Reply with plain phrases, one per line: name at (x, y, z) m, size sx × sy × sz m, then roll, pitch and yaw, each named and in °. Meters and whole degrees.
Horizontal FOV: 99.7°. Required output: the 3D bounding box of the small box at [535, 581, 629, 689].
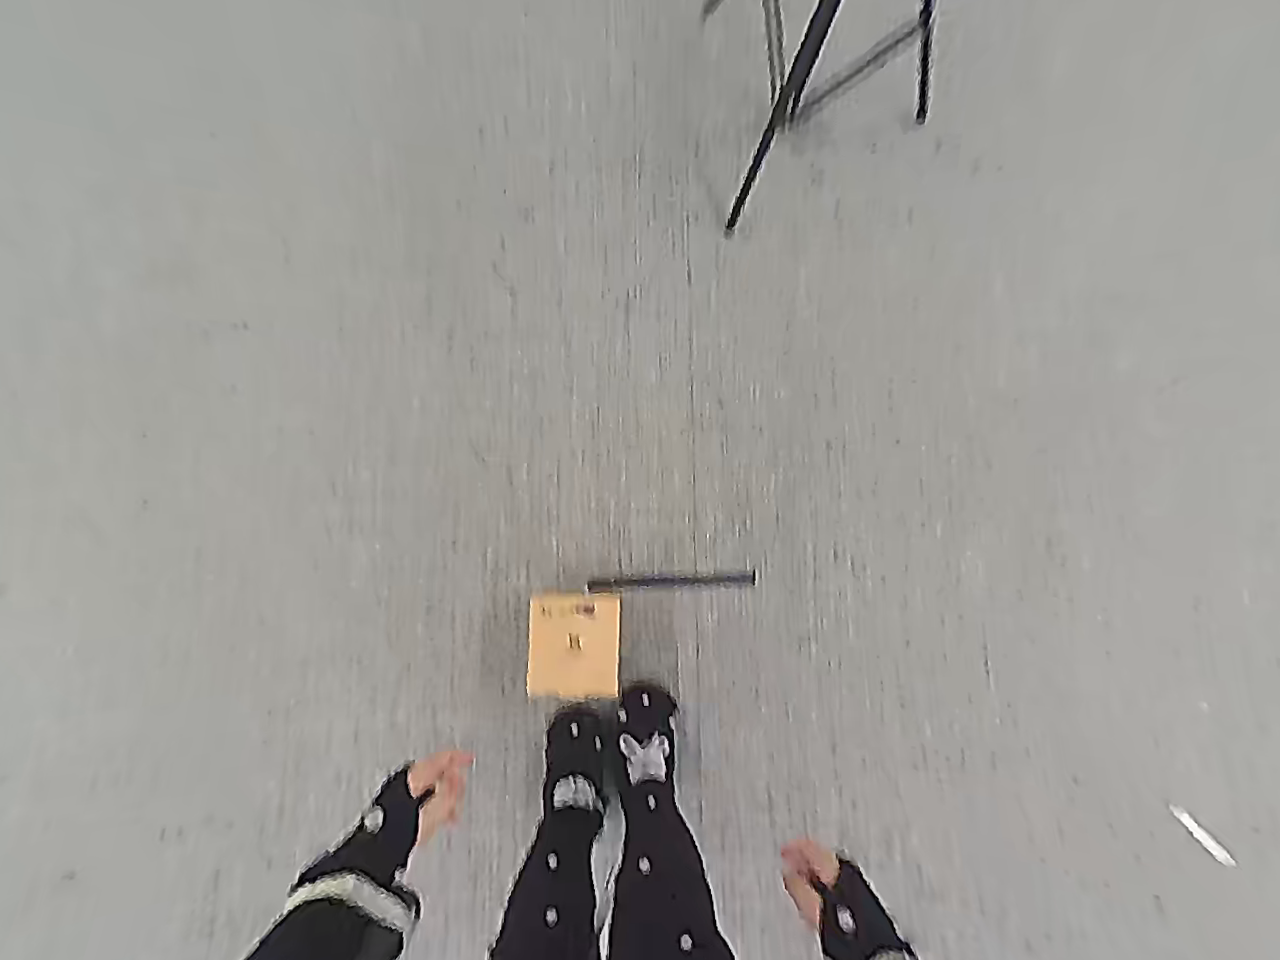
small box at (-0.108, 0.299, 1.071) m, size 0.168 × 0.176 × 0.179 m, roll 3°, pitch 84°, yaw -2°
